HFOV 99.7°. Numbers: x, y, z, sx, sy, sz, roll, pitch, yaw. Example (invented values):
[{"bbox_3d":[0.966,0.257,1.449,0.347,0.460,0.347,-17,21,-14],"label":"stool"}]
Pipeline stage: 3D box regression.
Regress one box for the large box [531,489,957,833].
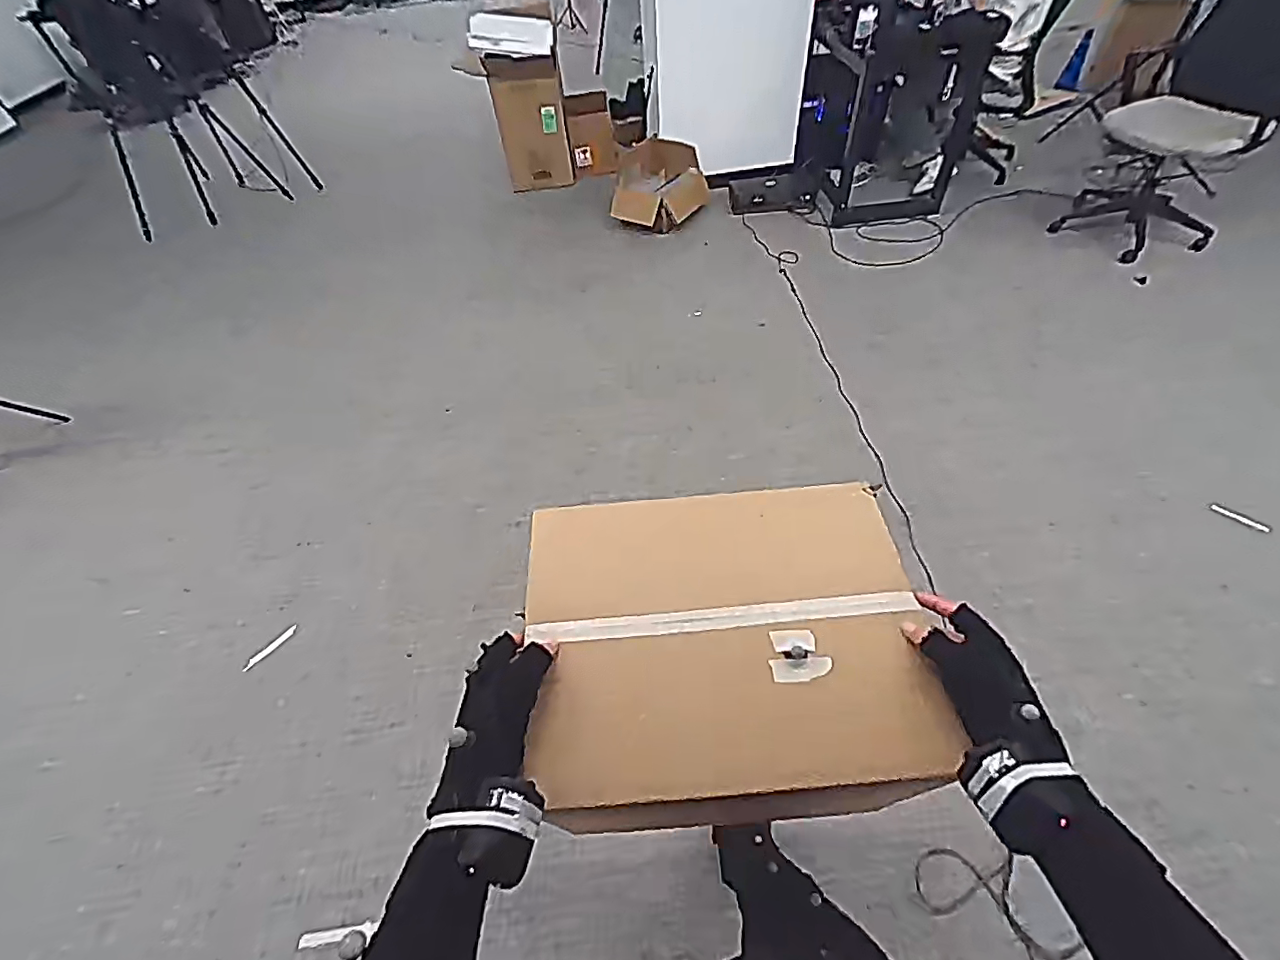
[{"bbox_3d":[0.089,0.240,0.698,0.408,0.320,0.320,-5,53,-1],"label":"large box"}]
